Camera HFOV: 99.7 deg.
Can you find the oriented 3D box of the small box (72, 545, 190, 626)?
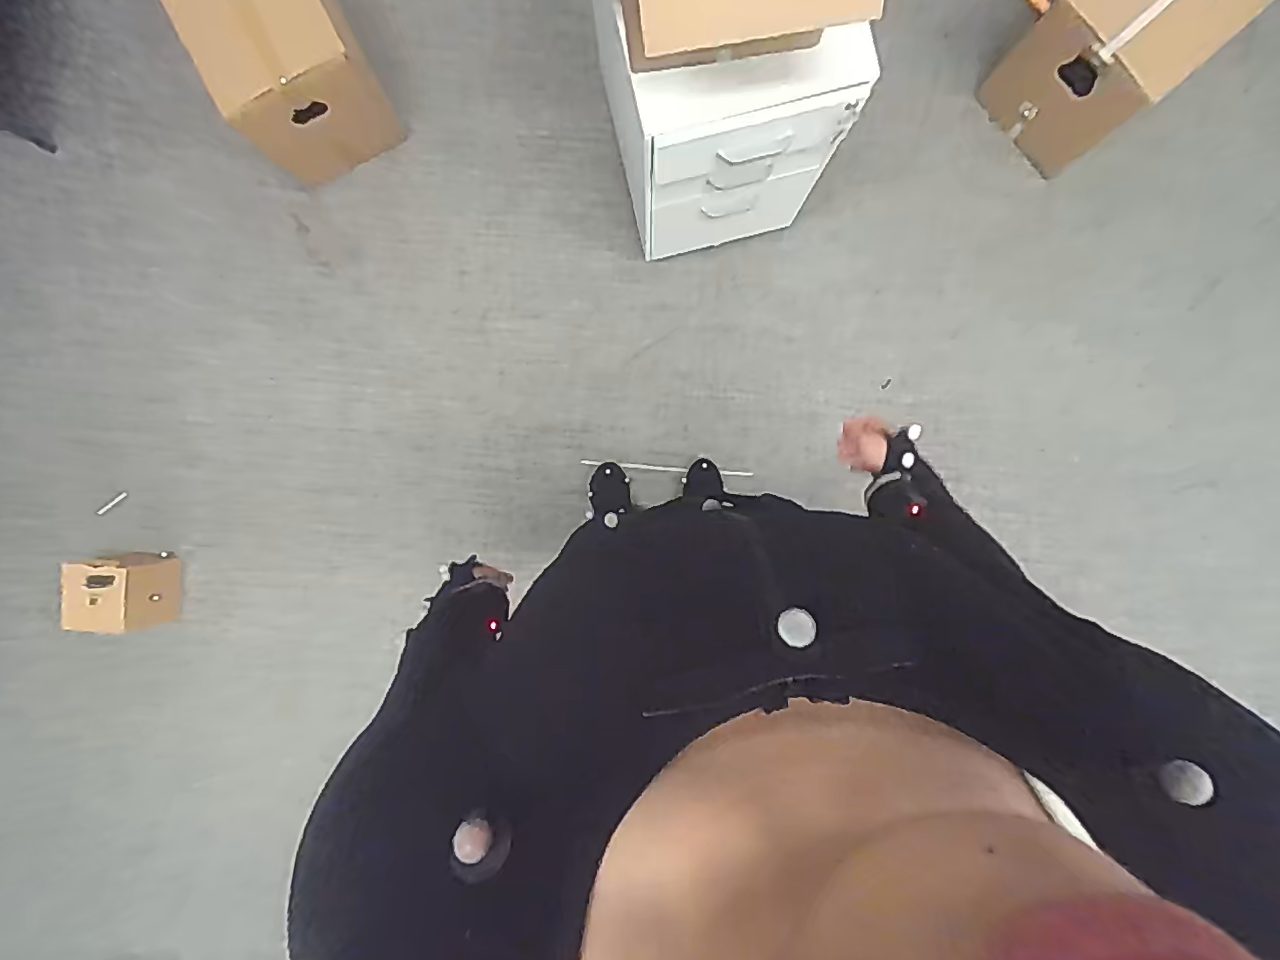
[{"bbox_3d":[-1.363,0.278,1.459,0.168,0.176,0.179,5,93,1],"label":"small box"}]
